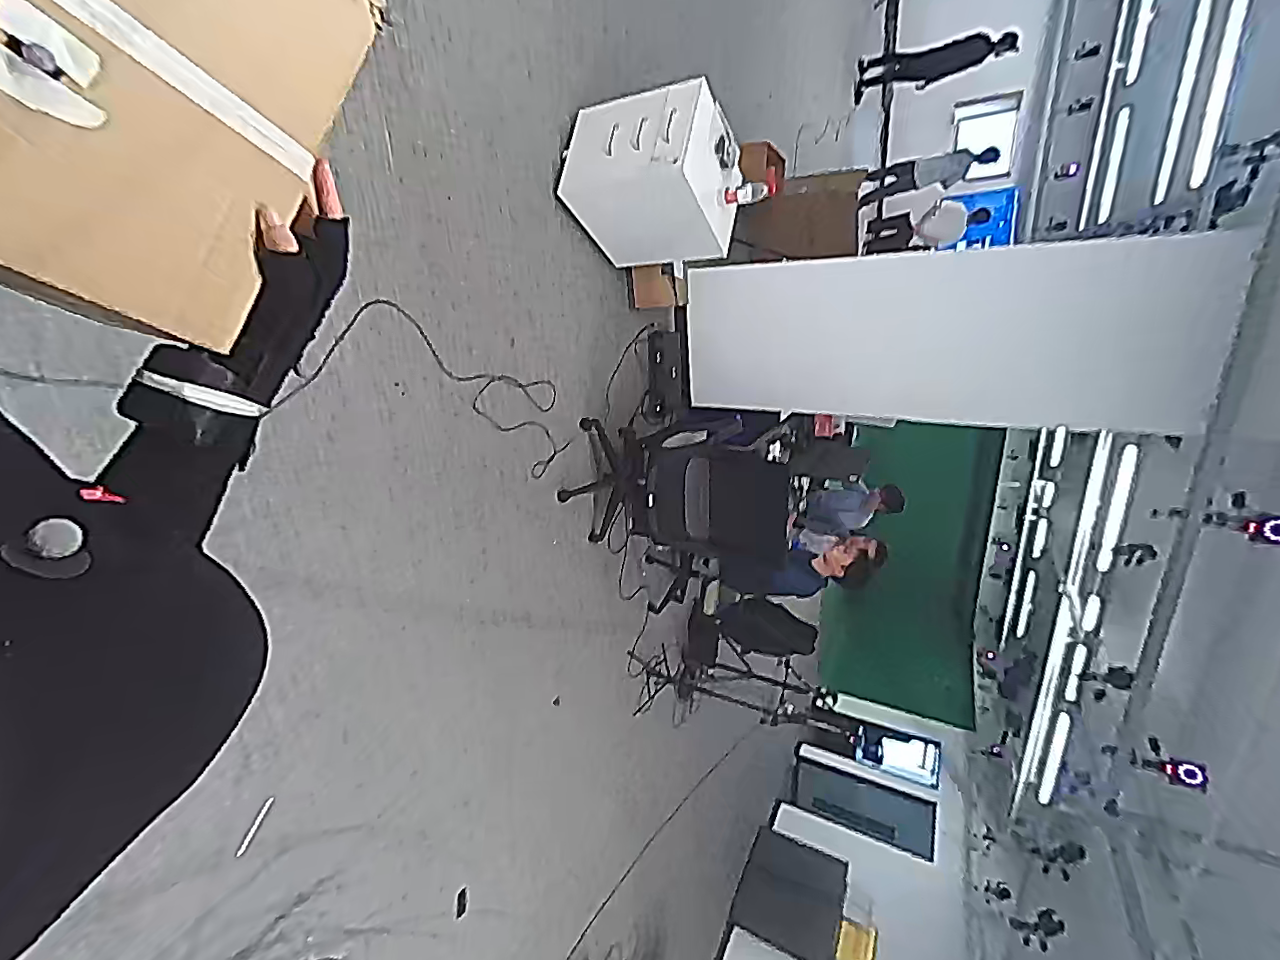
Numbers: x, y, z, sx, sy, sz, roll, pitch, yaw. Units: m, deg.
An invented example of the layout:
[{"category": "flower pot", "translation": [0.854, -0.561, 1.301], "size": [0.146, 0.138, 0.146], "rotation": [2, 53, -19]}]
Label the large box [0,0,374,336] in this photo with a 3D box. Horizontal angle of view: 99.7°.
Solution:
[{"category": "large box", "translation": [-0.483, -0.333, 0.345], "size": [0.408, 0.320, 0.320], "rotation": [28, 80, -57]}]
